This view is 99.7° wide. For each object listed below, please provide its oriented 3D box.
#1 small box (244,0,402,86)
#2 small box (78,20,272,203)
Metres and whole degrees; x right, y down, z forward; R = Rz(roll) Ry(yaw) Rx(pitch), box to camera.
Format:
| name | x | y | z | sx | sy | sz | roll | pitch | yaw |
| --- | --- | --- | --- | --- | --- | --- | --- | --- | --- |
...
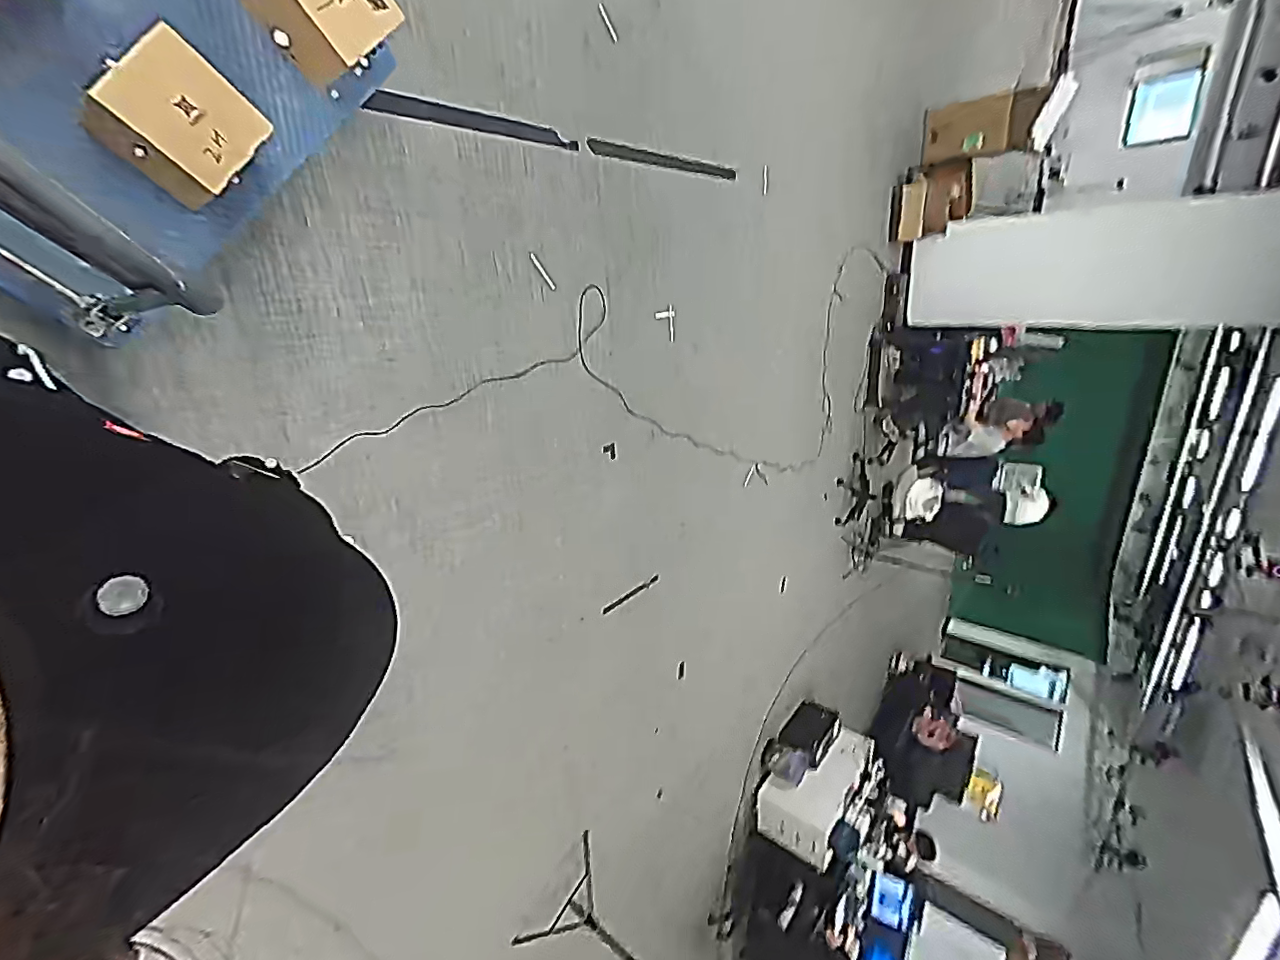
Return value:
| name | x | y | z | sx | sy | sz | roll | pitch | yaw |
| --- | --- | --- | --- | --- | --- | --- | --- | --- | --- |
| small box | -0.602 | -0.897 | 1.025 | 0.179 | 0.176 | 0.168 | -60 | 139 | -19 |
| small box | -0.771 | -0.594 | 0.898 | 0.179 | 0.176 | 0.168 | 44 | 66 | -47 |
